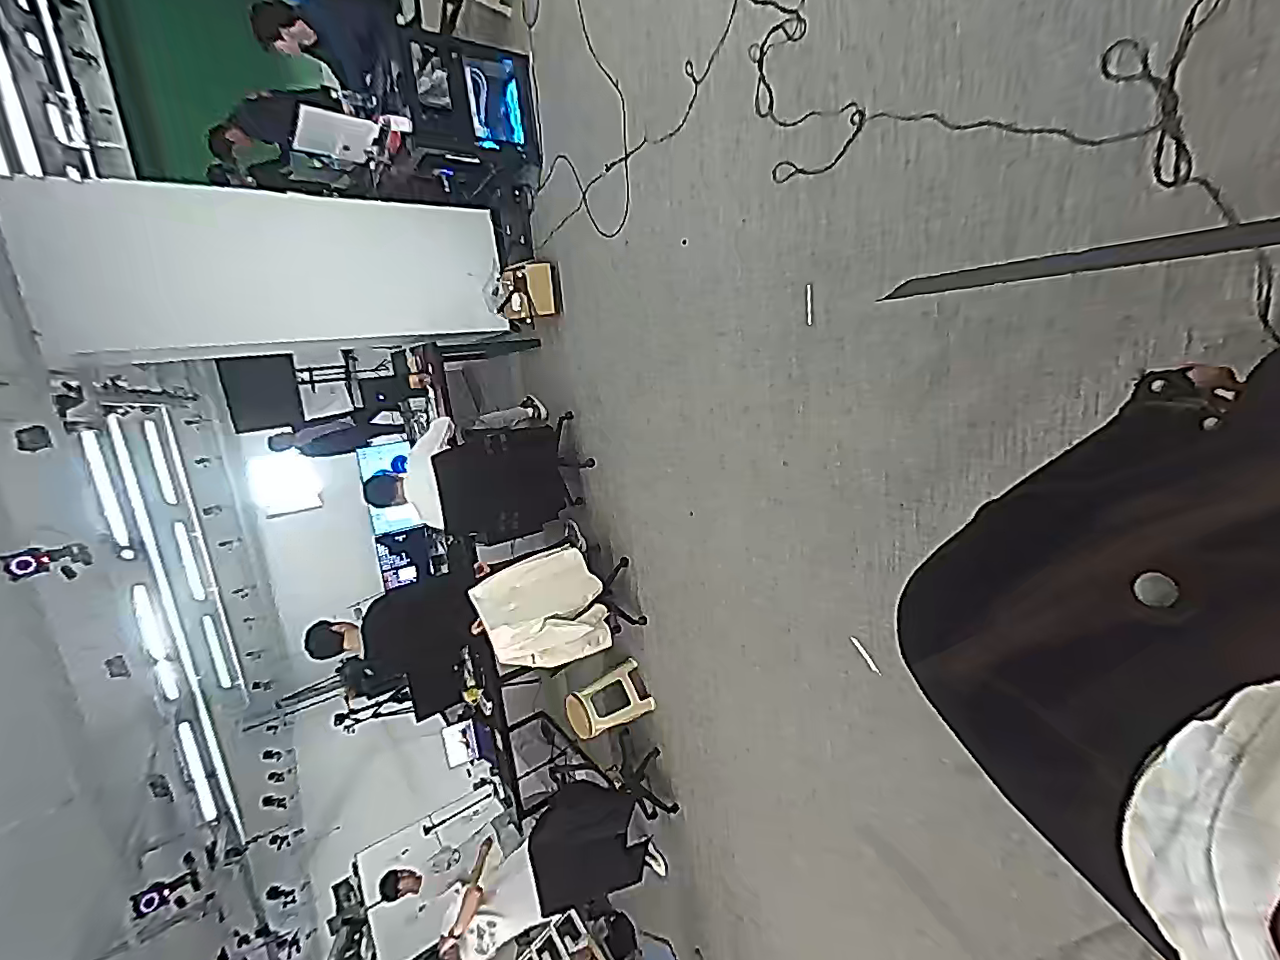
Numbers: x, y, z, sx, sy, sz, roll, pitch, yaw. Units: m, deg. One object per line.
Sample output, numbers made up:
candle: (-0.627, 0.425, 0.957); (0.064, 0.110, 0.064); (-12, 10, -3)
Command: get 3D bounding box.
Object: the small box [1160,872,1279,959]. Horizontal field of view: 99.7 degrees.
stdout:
small box: (0.895, 0.745, 0.796); (0.168, 0.176, 0.179); (6, 108, 53)
